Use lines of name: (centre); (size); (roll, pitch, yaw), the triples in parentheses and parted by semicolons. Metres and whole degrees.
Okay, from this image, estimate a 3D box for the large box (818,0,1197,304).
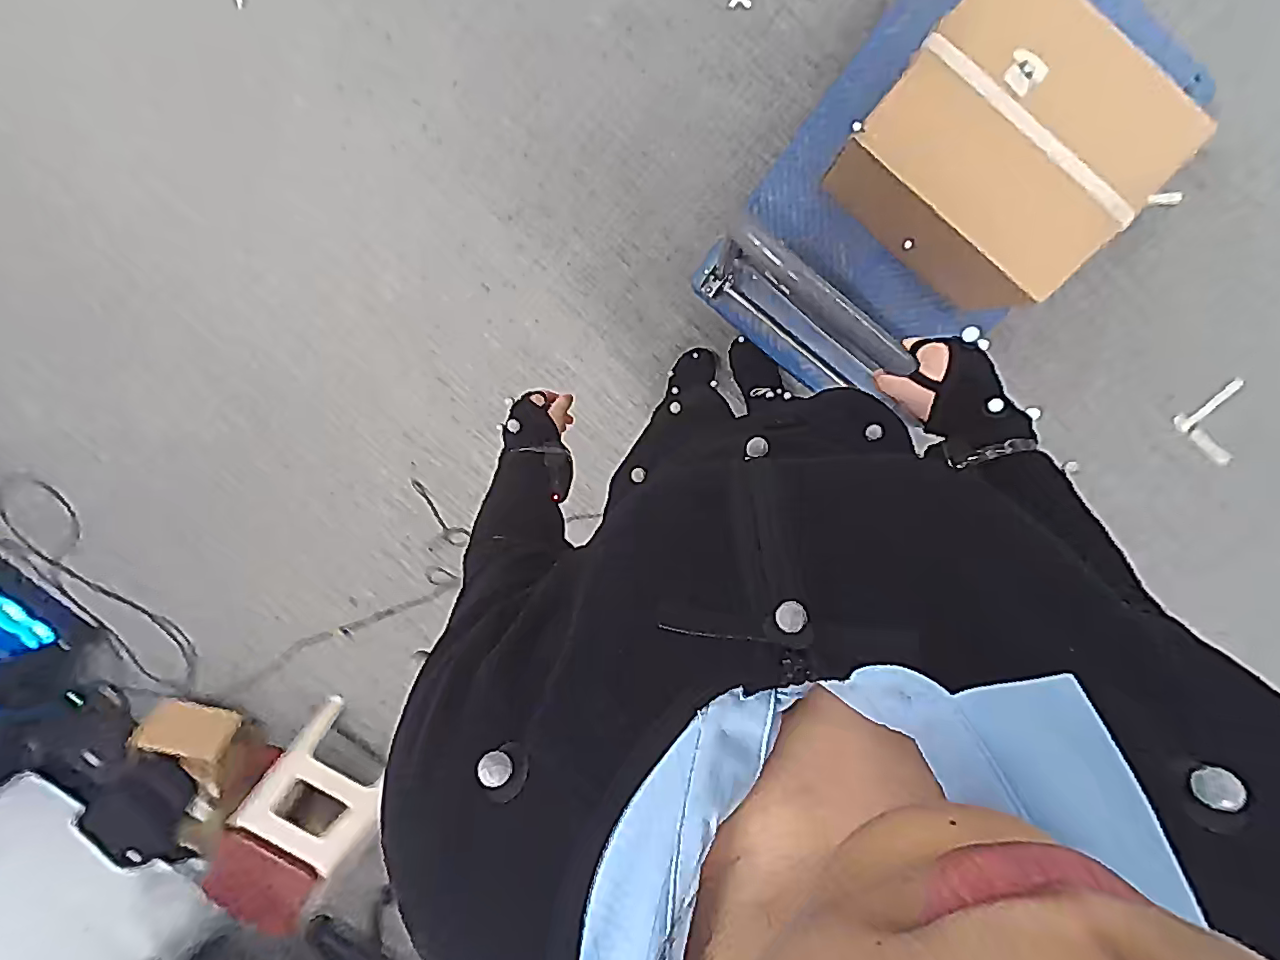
large box: (0.596, -0.568, 0.969); (0.408, 0.320, 0.320); (39, 106, -2)
